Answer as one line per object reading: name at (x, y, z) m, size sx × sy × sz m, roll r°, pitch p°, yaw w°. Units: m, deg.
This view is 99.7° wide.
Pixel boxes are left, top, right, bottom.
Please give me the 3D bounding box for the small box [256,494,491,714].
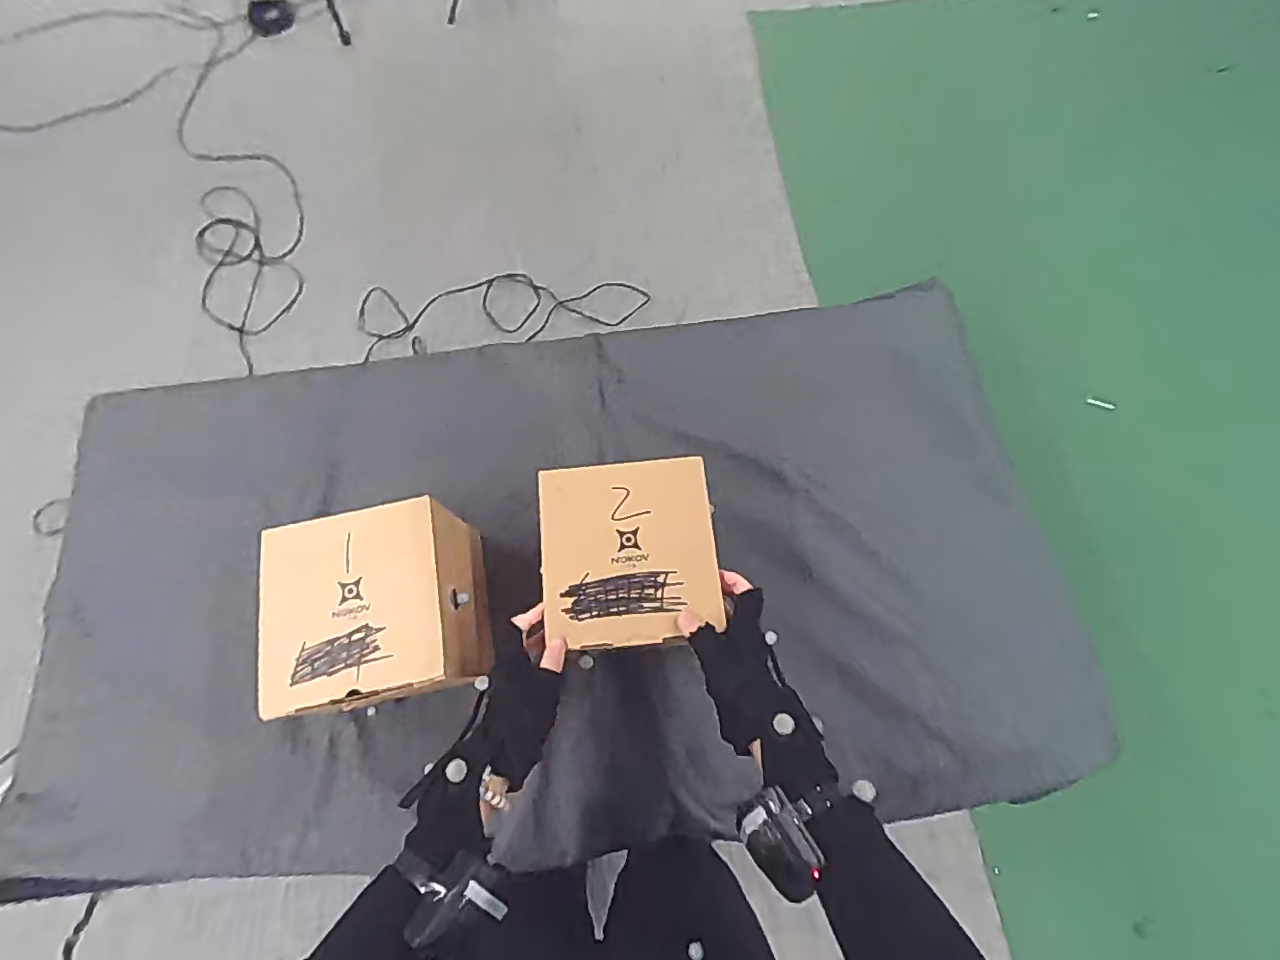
small box at (-0.267, 0.134, 0.575) m, size 0.168 × 0.176 × 0.179 m, roll -11°, pitch 70°, yaw -3°
